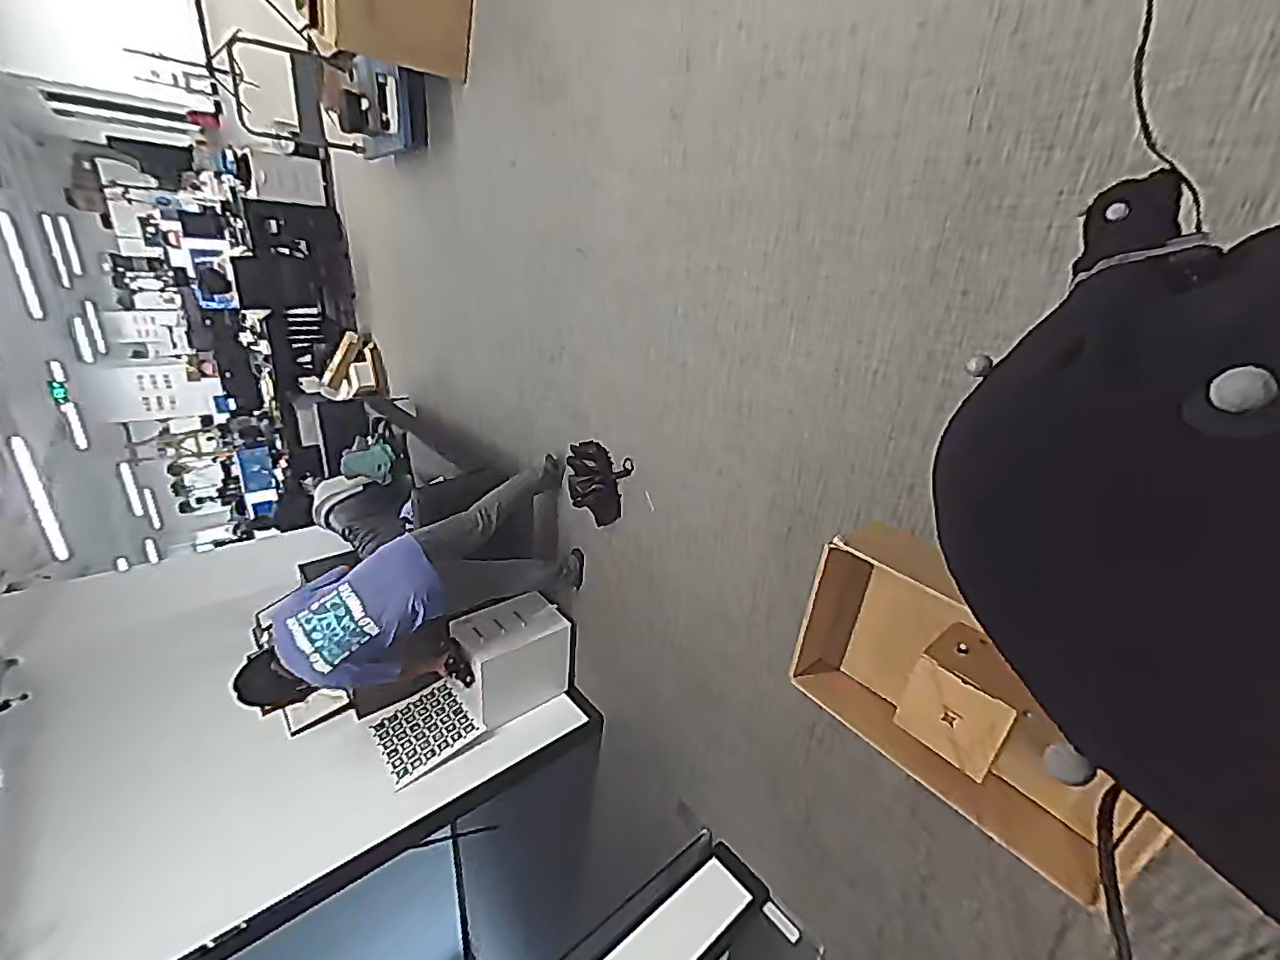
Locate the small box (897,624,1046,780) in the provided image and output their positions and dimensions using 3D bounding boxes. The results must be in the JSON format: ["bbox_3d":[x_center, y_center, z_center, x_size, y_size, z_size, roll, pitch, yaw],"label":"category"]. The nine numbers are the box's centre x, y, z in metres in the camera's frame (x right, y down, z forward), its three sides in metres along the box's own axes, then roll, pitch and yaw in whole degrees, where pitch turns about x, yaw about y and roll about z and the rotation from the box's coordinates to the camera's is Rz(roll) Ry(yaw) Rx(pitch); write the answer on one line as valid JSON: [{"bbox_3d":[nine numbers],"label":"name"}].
[{"bbox_3d":[0.619,0.401,1.009,0.168,0.176,0.179,31,127,44],"label":"small box"}]
